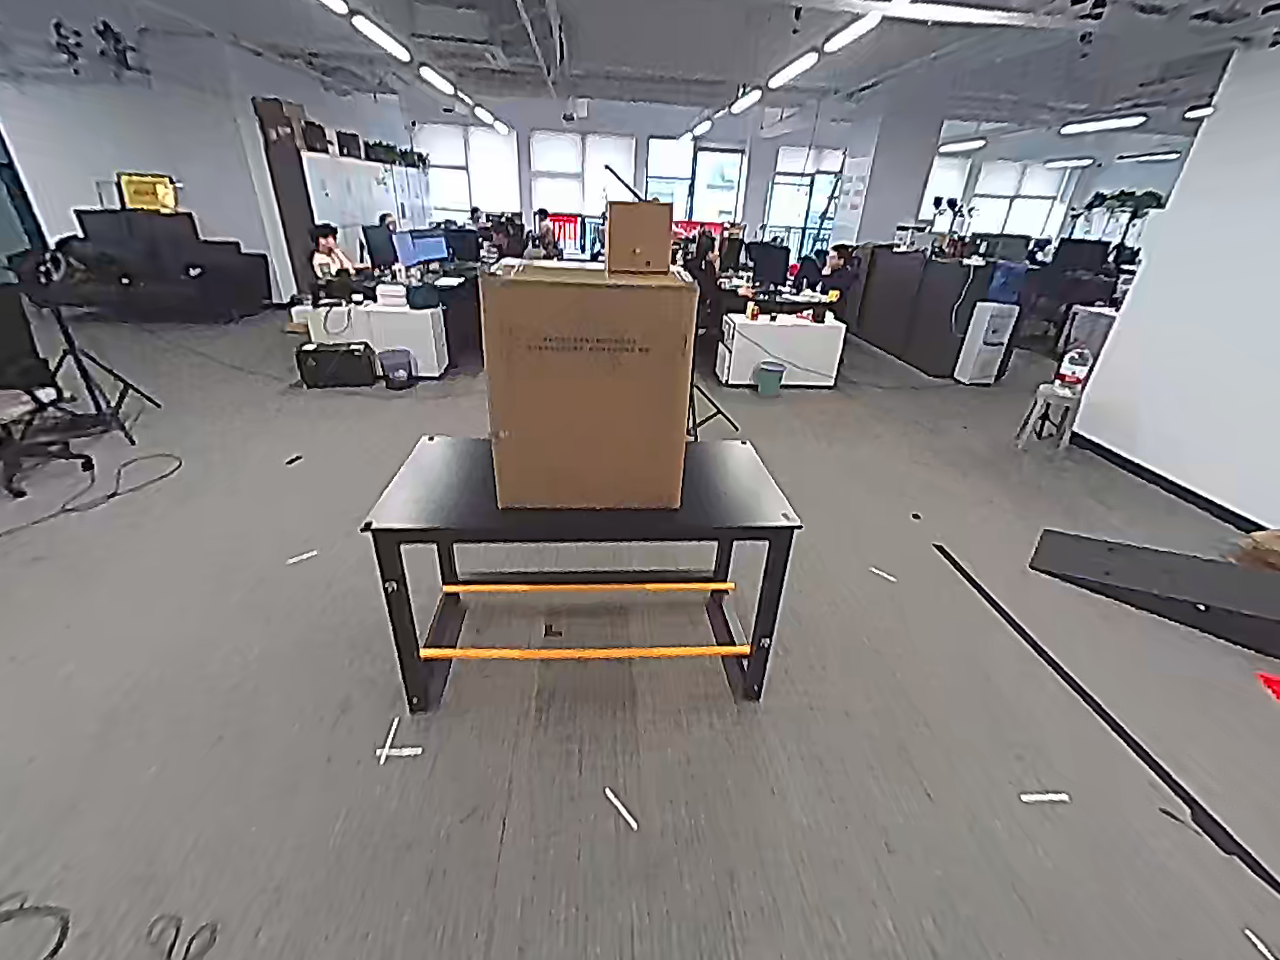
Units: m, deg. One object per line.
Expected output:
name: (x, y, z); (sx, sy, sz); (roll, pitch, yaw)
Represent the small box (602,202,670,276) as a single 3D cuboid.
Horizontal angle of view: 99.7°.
small box: (-0.016, -0.649, 1.454); (0.168, 0.176, 0.179); (-2, 27, -6)
